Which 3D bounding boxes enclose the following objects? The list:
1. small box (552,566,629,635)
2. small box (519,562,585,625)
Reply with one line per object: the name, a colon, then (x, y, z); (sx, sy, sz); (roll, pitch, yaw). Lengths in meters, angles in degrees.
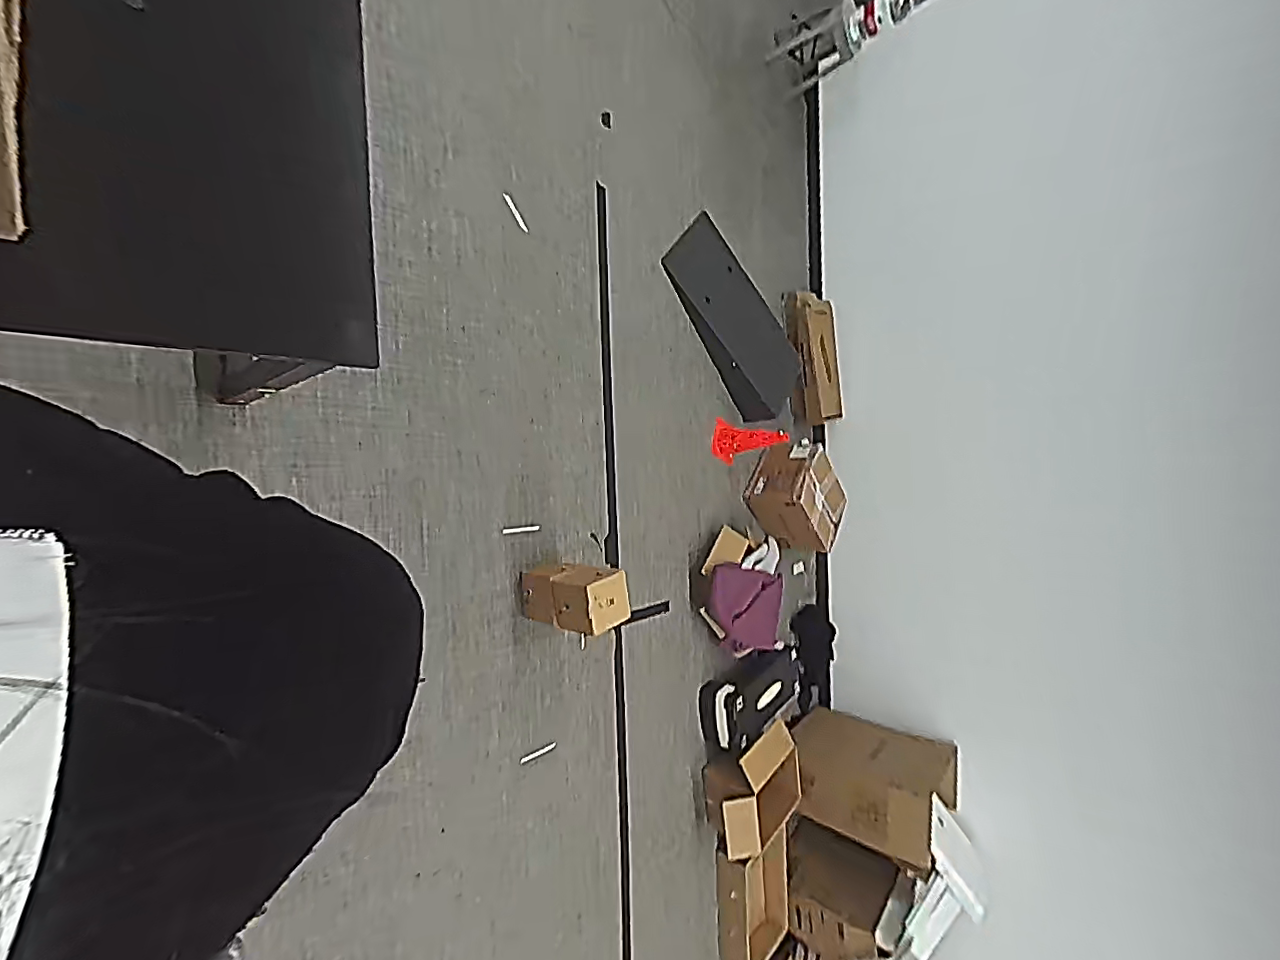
small box: (-0.162, 0.384, 1.767); (0.179, 0.176, 0.168); (-15, 100, -47)
small box: (-0.294, 0.384, 1.867); (0.179, 0.176, 0.168); (-8, 95, -47)
